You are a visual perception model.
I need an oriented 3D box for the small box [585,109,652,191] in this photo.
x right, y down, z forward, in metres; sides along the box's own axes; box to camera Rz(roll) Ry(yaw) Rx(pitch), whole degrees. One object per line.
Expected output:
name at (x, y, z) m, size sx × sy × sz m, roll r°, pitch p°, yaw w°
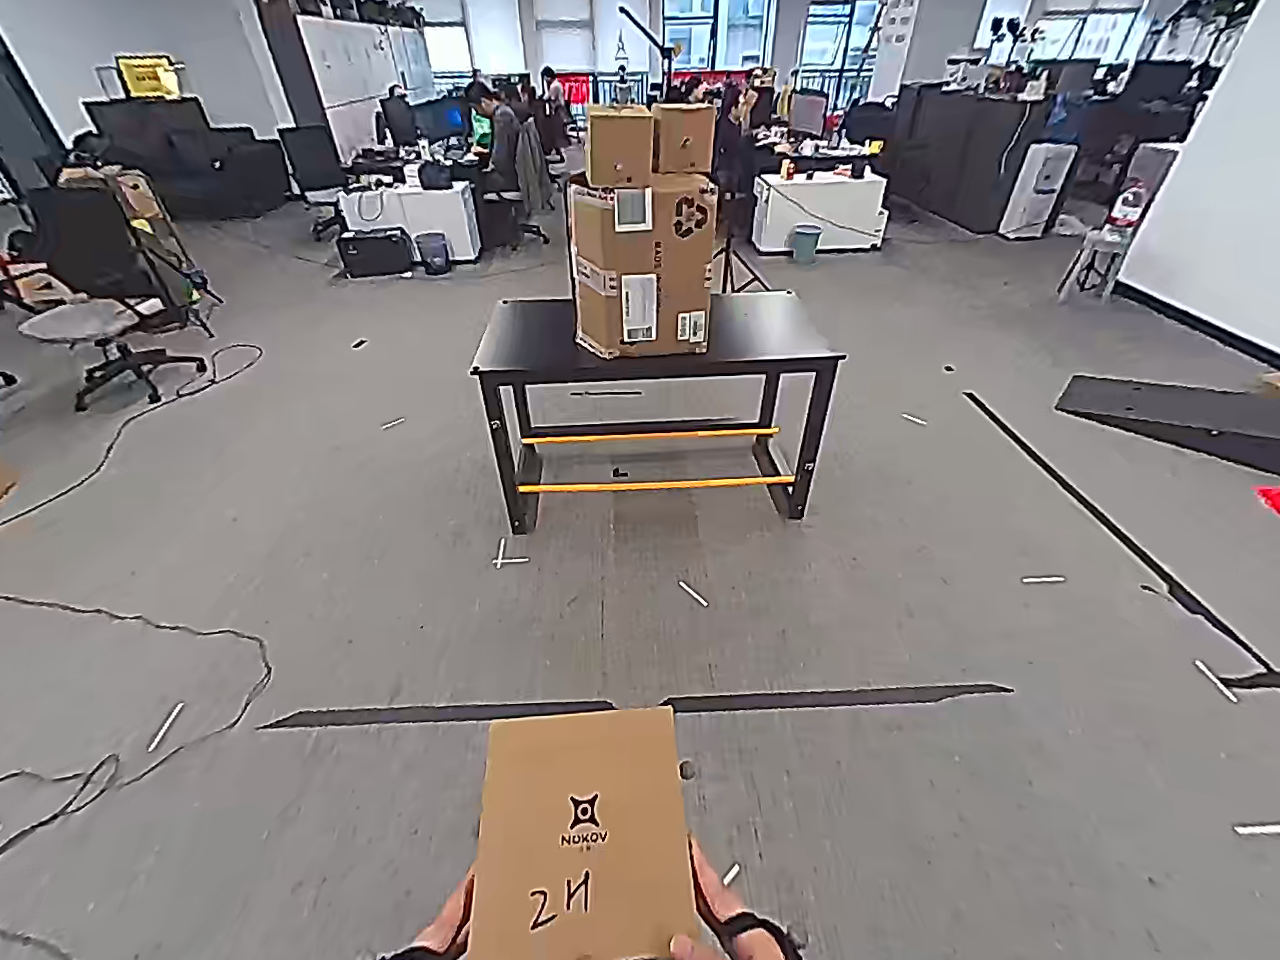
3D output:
small box at (-0.063, -0.903, 1.478) m, size 0.168 × 0.176 × 0.179 m, roll -4°, pitch 41°, yaw -7°

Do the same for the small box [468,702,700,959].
small box at (-0.045, 0.326, 0.492) m, size 0.168 × 0.176 × 0.179 m, roll -4°, pitch 47°, yaw -3°

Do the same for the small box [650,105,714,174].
small box at (0.124, -1.053, 1.673) m, size 0.168 × 0.176 × 0.179 m, roll -4°, pitch 38°, yaw -7°
